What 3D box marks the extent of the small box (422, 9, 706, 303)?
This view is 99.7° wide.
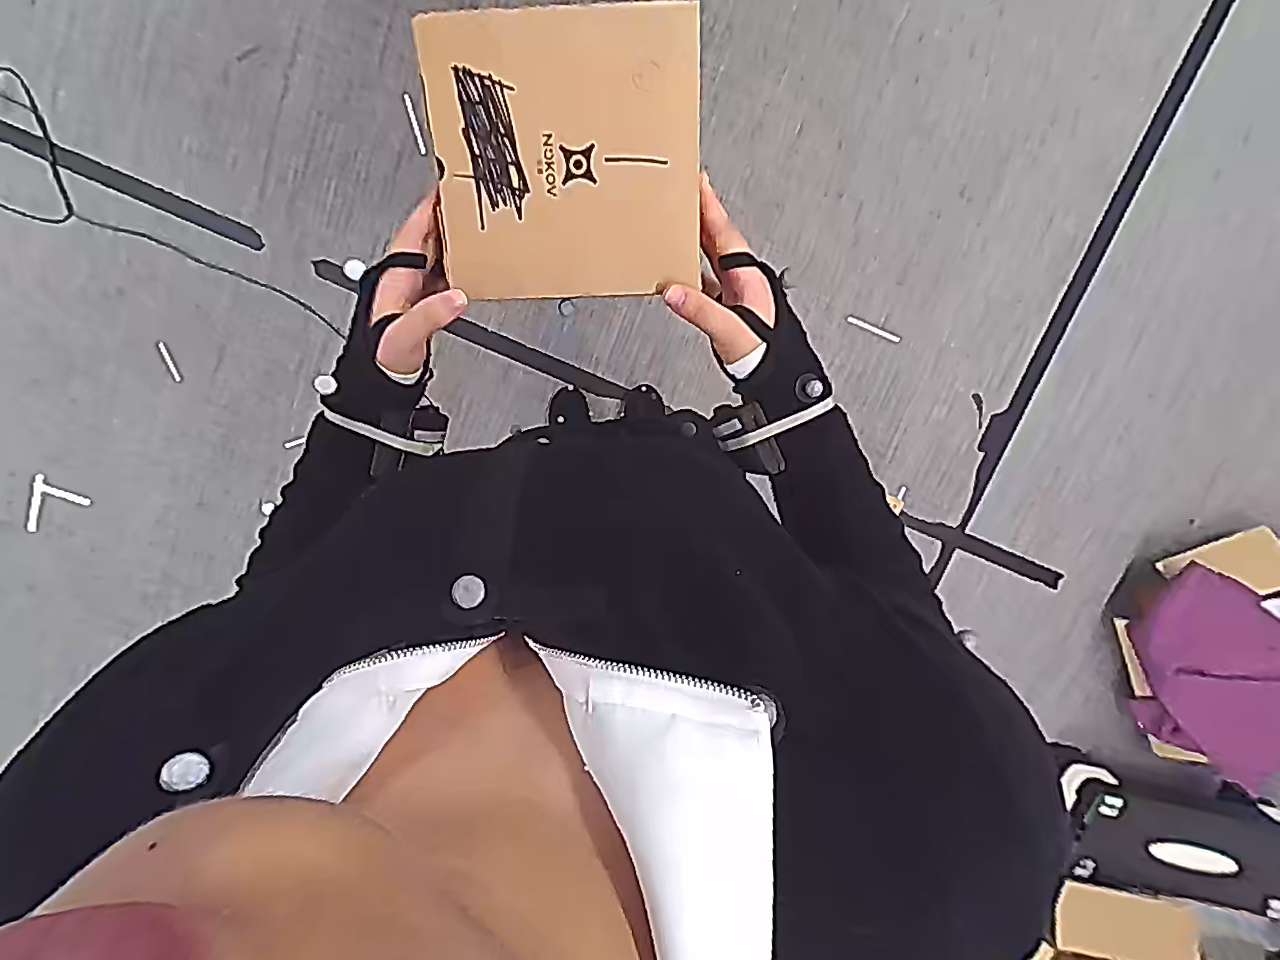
[{"bbox_3d":[-0.043,-0.228,0.426,0.179,0.176,0.168,-2,109,1],"label":"small box"}]
